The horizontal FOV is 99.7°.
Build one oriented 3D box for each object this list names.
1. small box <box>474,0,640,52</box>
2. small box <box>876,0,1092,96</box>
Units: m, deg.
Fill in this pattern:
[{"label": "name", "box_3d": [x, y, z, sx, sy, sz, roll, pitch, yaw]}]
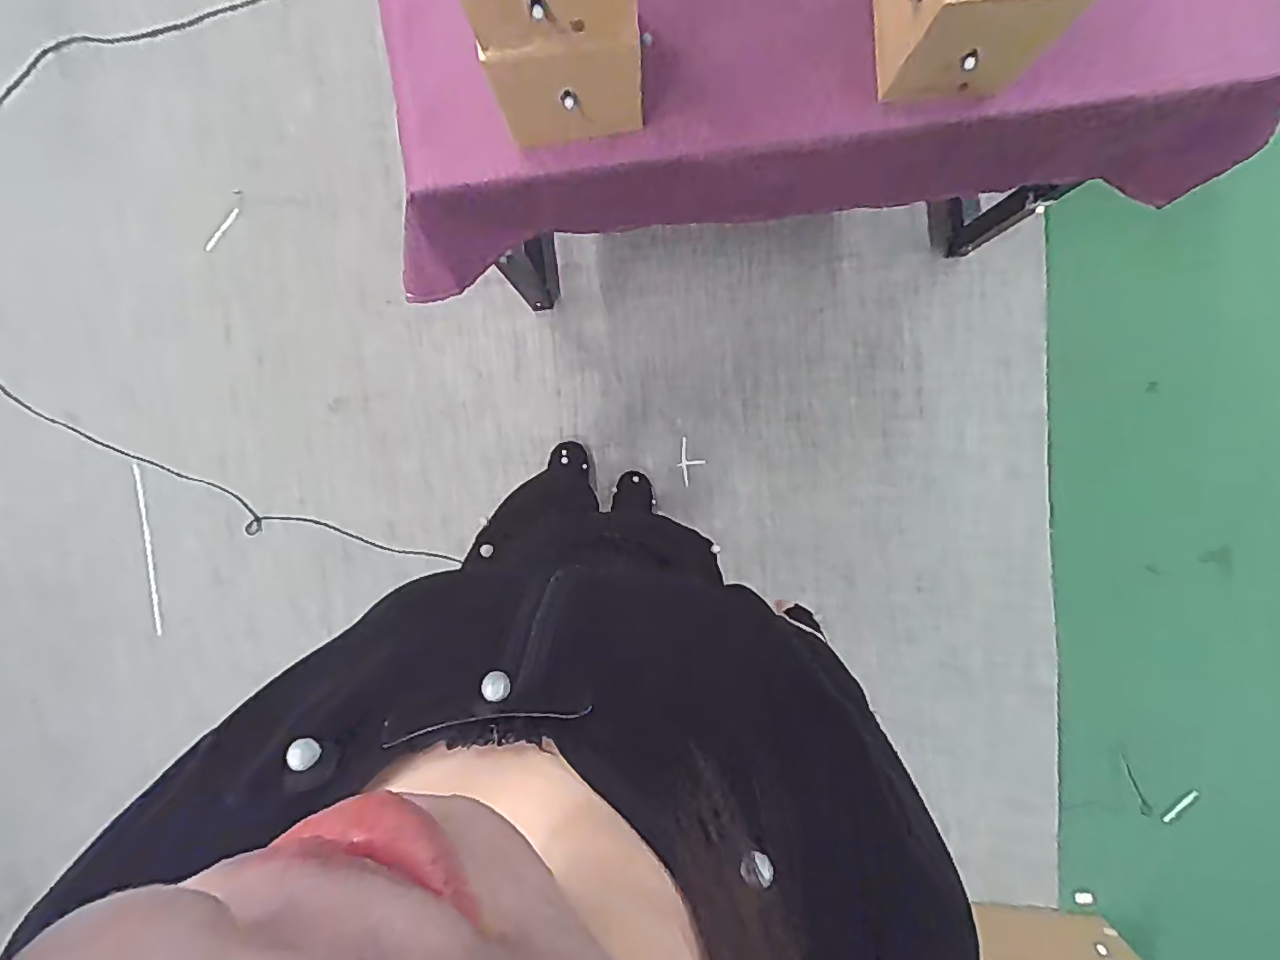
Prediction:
[{"label": "small box", "box_3d": [-0.090, -0.543, 0.489, 0.168, 0.176, 0.179, -7, 94, 1]}, {"label": "small box", "box_3d": [0.399, -0.594, 0.646, 0.168, 0.176, 0.179, -4, 93, 0]}]
